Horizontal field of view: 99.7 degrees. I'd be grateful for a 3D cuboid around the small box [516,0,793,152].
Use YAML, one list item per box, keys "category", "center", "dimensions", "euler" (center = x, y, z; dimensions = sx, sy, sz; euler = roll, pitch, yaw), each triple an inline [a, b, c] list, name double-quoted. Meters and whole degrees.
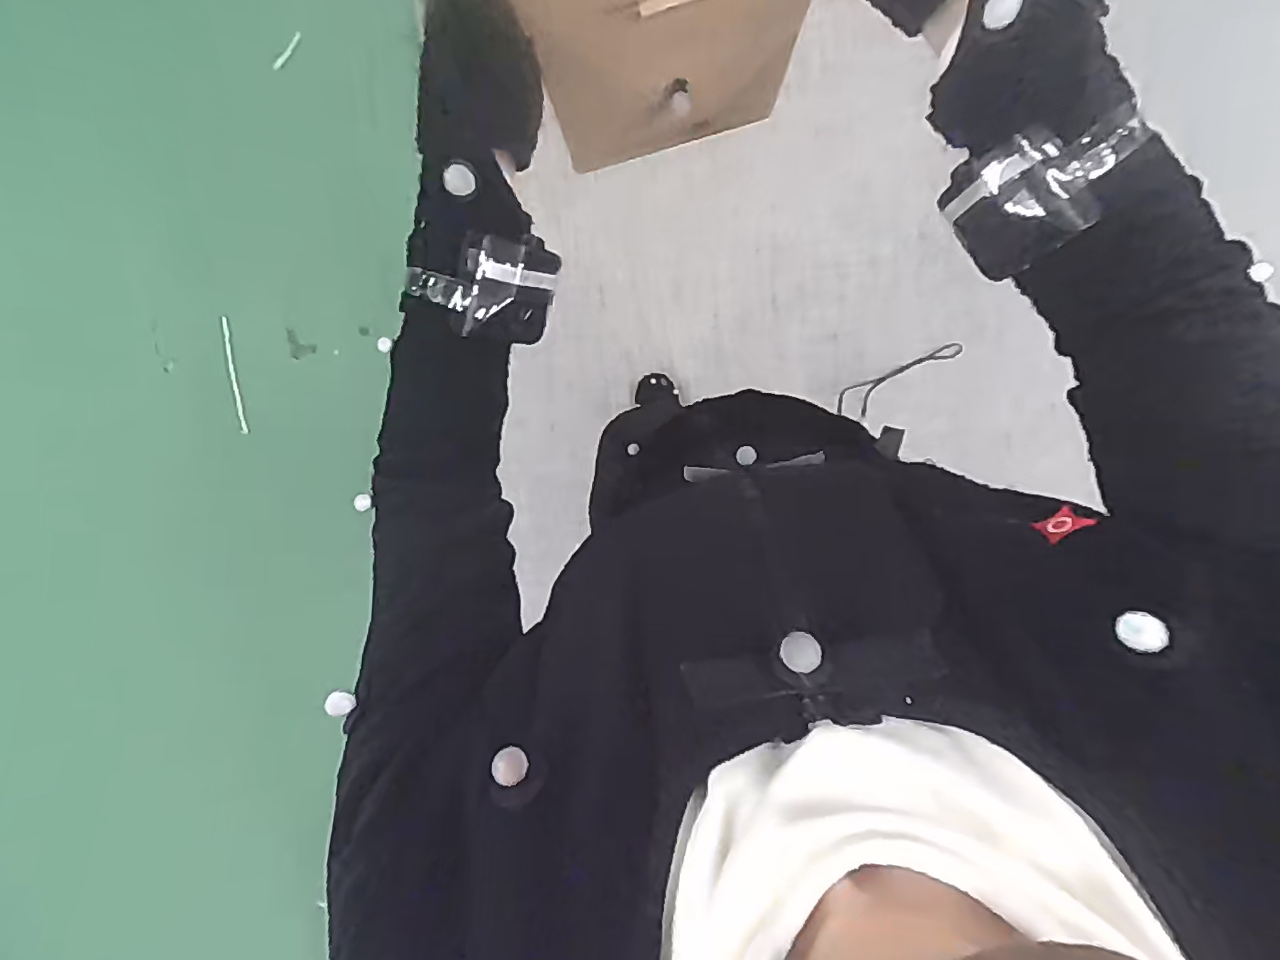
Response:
- category: "small box"
  center: [0.002, -0.350, 0.358]
  dimensions: [0.168, 0.176, 0.179]
  euler: [-14, 97, 5]
